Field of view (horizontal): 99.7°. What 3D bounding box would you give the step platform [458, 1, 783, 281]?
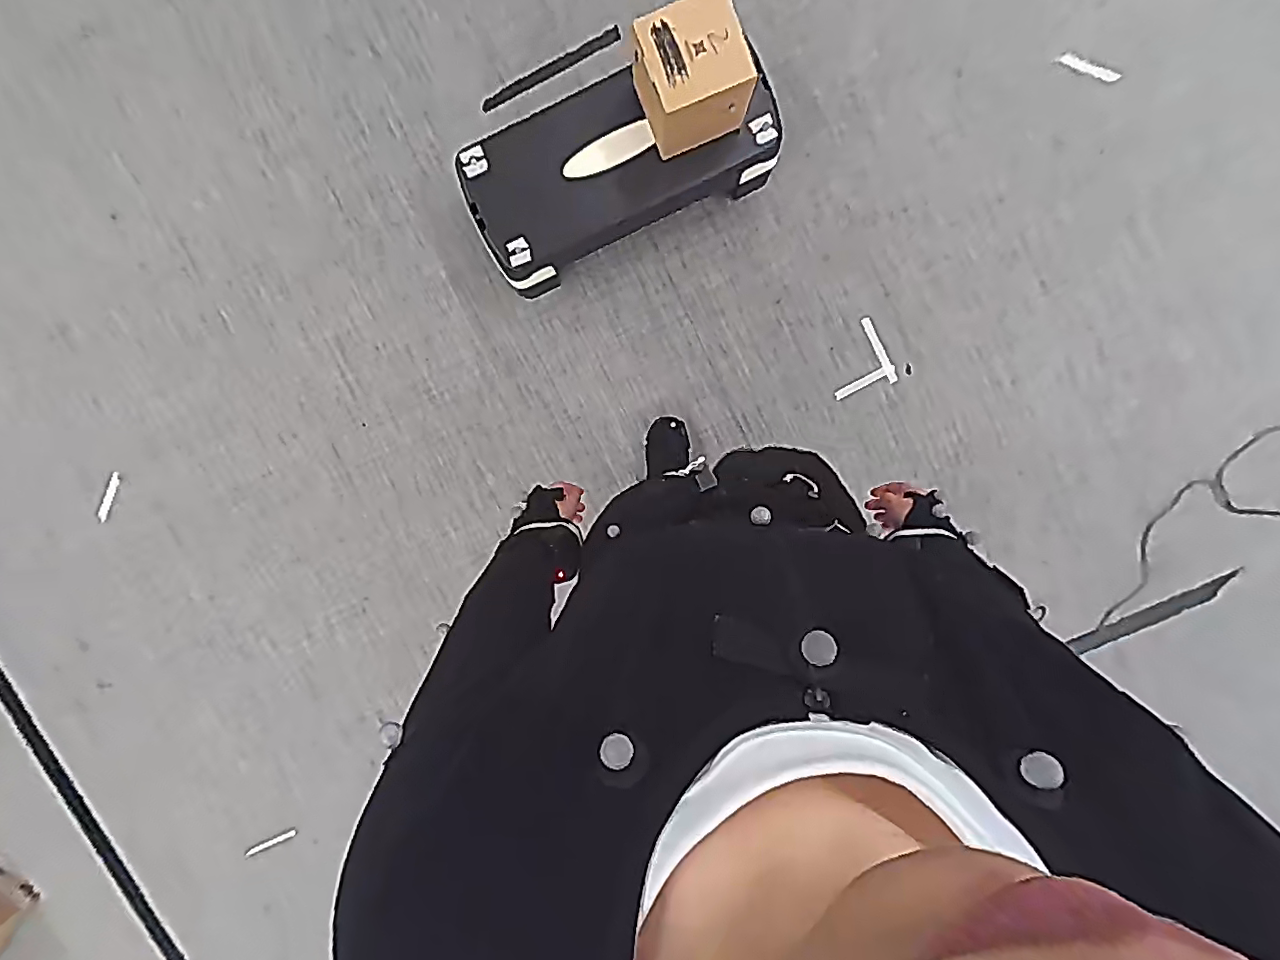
[{"bbox_3d":[-0.041,-0.721,1.190,0.684,0.204,0.286,-25,95,4],"label":"step platform"}]
